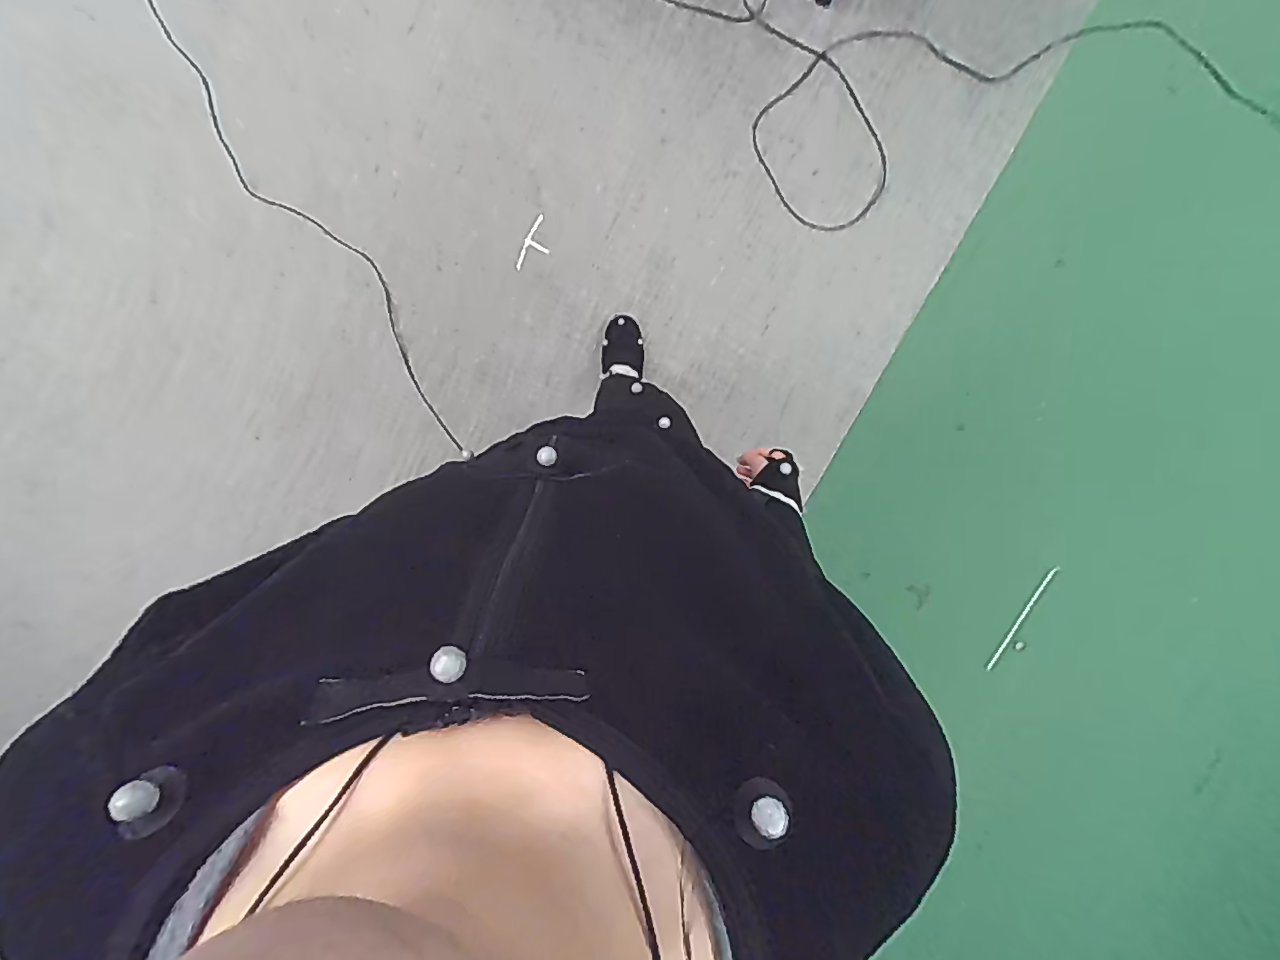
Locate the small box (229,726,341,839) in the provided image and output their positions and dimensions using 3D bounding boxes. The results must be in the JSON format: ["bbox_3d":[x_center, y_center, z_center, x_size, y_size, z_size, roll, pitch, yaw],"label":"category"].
[{"bbox_3d":[-0.955,0.816,1.472,0.168,0.176,0.179,29,97,-9],"label":"small box"}]
